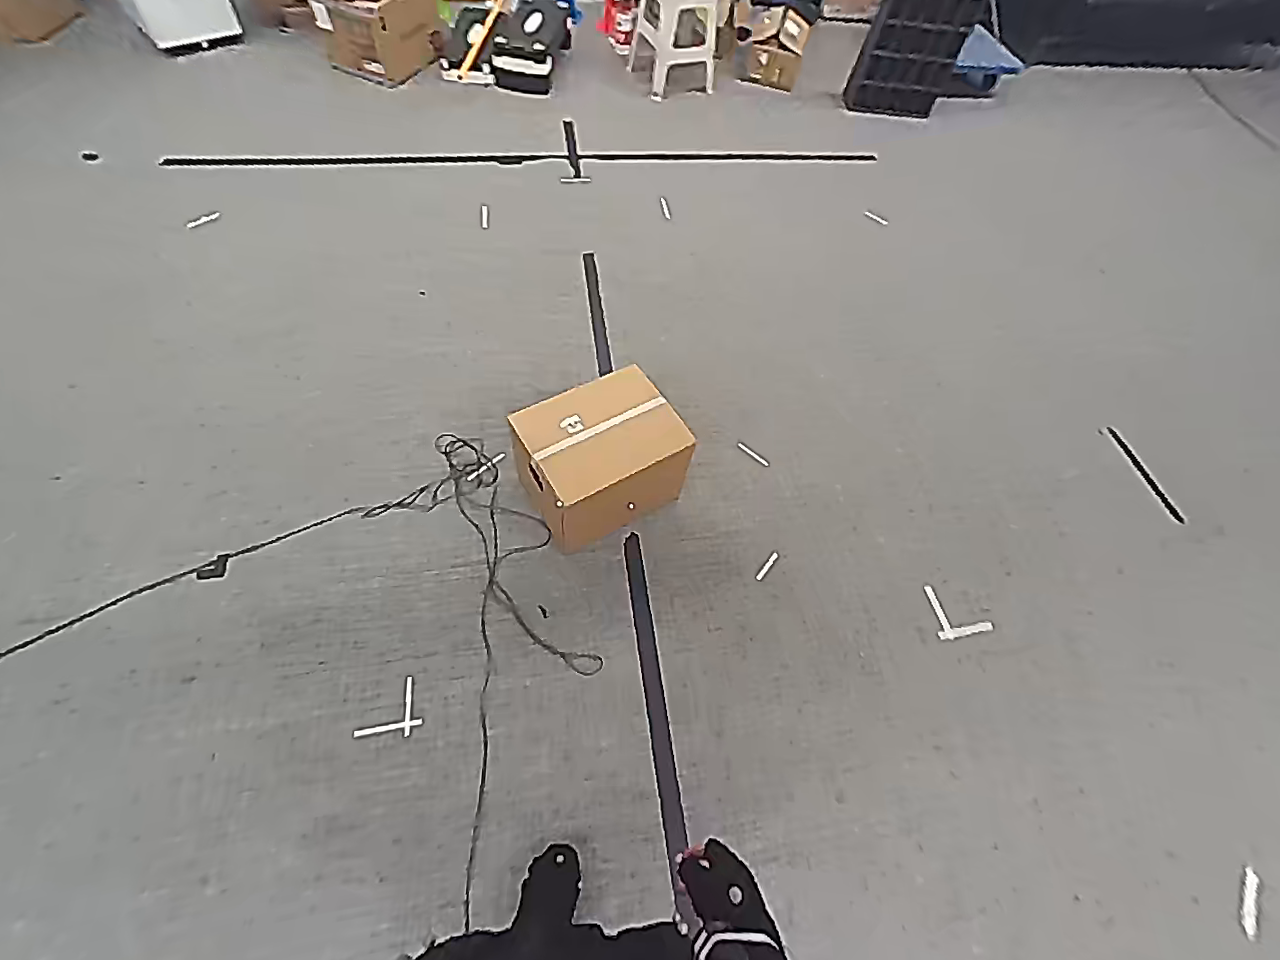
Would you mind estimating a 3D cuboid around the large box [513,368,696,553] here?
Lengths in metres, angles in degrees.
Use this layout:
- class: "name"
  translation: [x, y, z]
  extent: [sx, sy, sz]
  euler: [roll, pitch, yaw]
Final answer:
- class: "large box"
  translation: [-0.106, -0.051, 1.566]
  extent: [0.408, 0.320, 0.320]
  euler: [-27, 66, -19]
